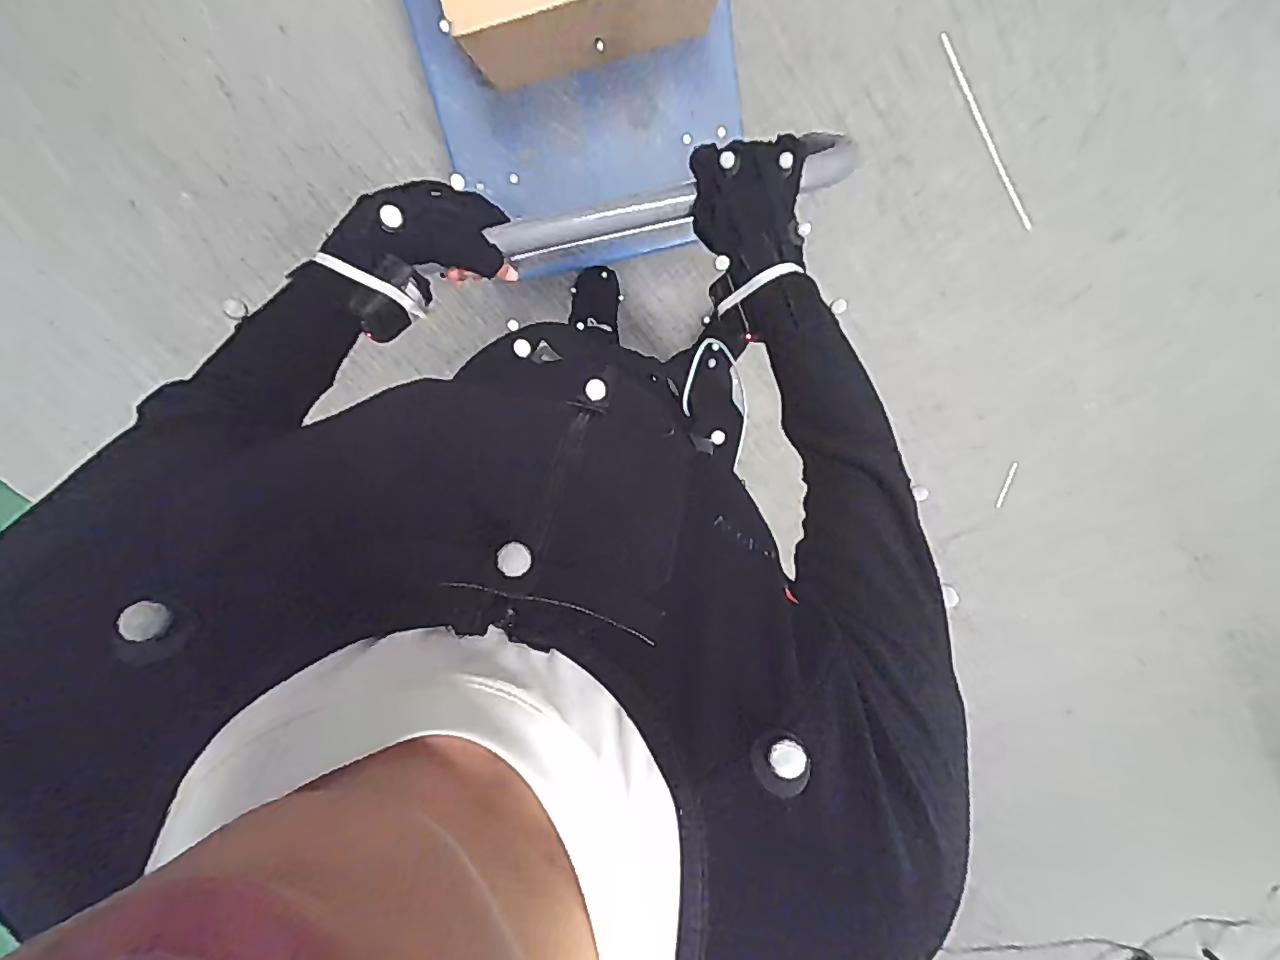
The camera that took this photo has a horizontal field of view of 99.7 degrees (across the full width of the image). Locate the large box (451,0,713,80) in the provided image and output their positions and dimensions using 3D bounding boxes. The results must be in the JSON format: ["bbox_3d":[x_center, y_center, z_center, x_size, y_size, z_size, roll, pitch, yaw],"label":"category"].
[{"bbox_3d":[-0.098,-0.872,0.815,0.408,0.320,0.320,-13,113,5],"label":"large box"}]
